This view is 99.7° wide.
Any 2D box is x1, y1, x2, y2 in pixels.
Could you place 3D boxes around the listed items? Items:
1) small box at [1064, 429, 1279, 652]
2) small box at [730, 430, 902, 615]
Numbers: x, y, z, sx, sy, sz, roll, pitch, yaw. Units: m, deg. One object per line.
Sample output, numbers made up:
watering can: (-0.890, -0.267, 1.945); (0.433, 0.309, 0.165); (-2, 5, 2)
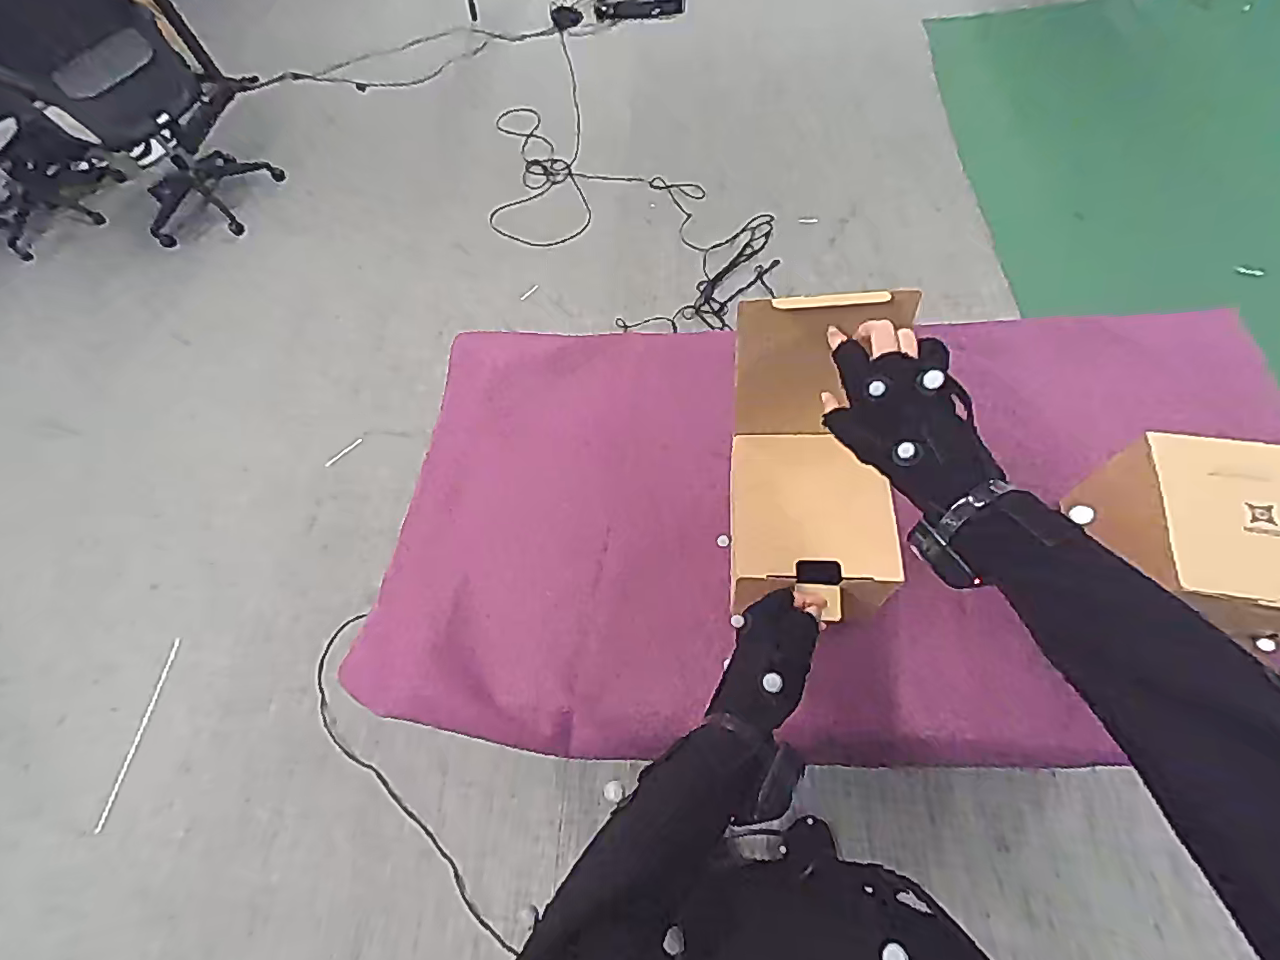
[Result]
small box: (0.594, 0.071, 0.577); (0.168, 0.176, 0.179); (9, 63, 13)
small box: (0.193, 0.057, 0.645); (0.168, 0.176, 0.179); (0, 63, 8)
